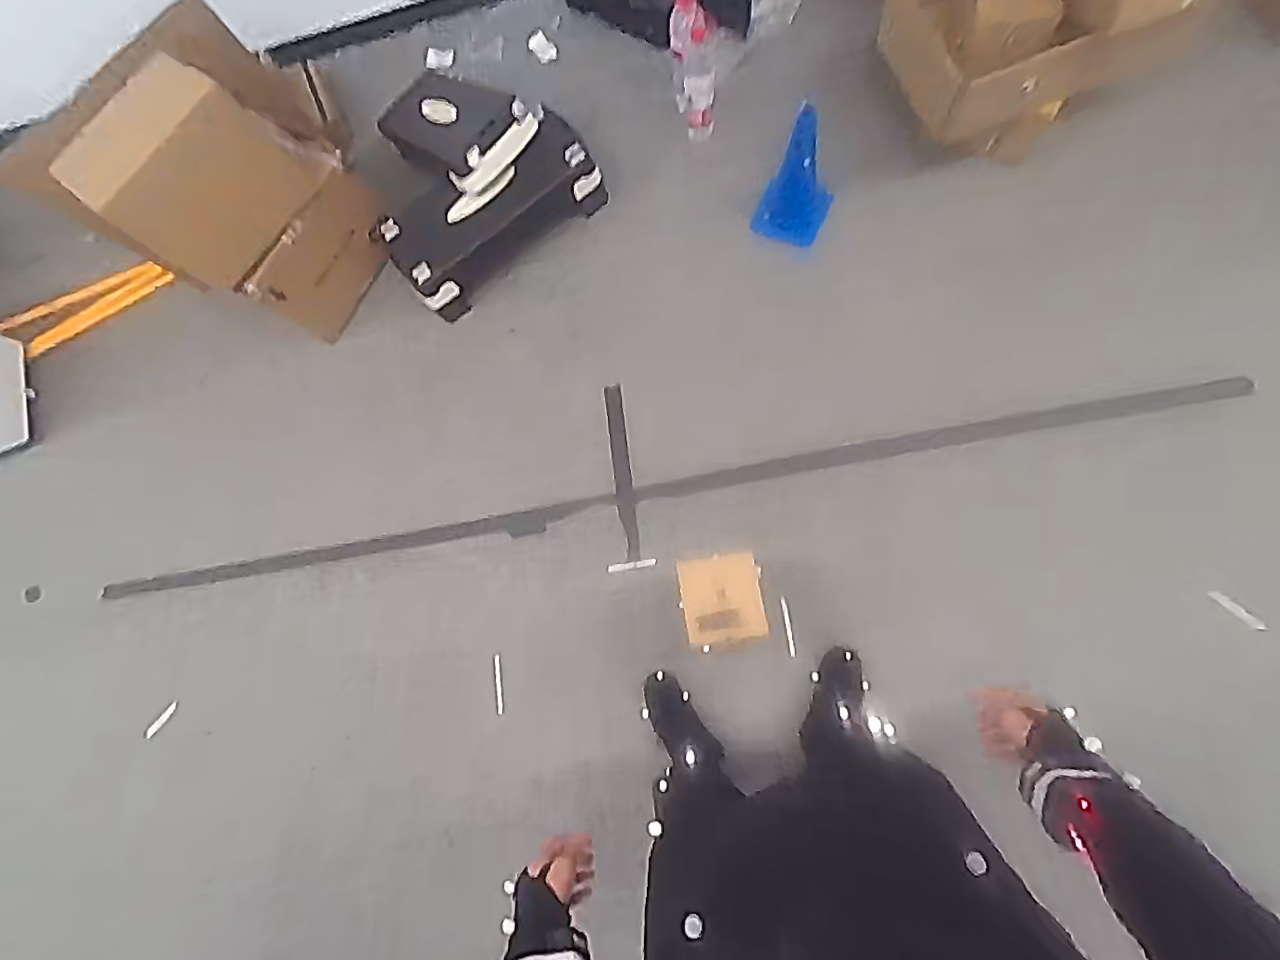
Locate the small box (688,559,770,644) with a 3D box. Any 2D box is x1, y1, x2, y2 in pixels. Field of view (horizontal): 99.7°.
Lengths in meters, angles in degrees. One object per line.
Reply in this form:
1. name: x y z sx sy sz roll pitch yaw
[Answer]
1. small box: 0.221 0.304 1.361 0.168 0.176 0.179 -13 78 7
